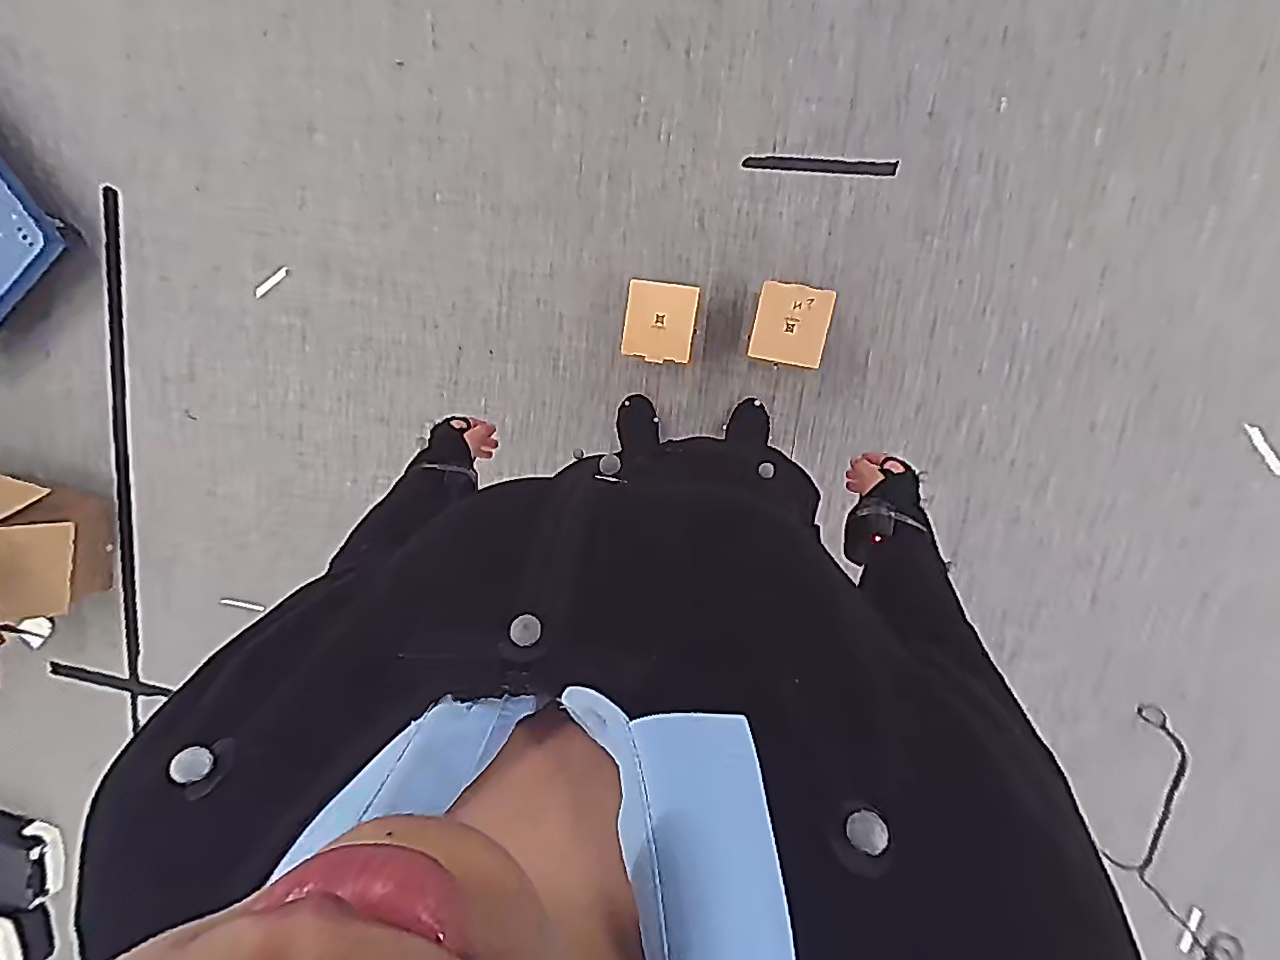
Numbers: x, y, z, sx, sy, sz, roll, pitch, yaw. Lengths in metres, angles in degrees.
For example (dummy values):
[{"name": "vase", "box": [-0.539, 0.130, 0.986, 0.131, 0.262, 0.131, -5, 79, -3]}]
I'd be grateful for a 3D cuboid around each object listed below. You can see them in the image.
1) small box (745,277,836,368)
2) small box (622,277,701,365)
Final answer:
[{"name": "small box", "box": [0.353, -0.369, 1.301, 0.168, 0.176, 0.179, 12, 101, 5]}, {"name": "small box", "box": [0.058, -0.388, 1.342, 0.168, 0.176, 0.179, 9, 101, 7]}]
